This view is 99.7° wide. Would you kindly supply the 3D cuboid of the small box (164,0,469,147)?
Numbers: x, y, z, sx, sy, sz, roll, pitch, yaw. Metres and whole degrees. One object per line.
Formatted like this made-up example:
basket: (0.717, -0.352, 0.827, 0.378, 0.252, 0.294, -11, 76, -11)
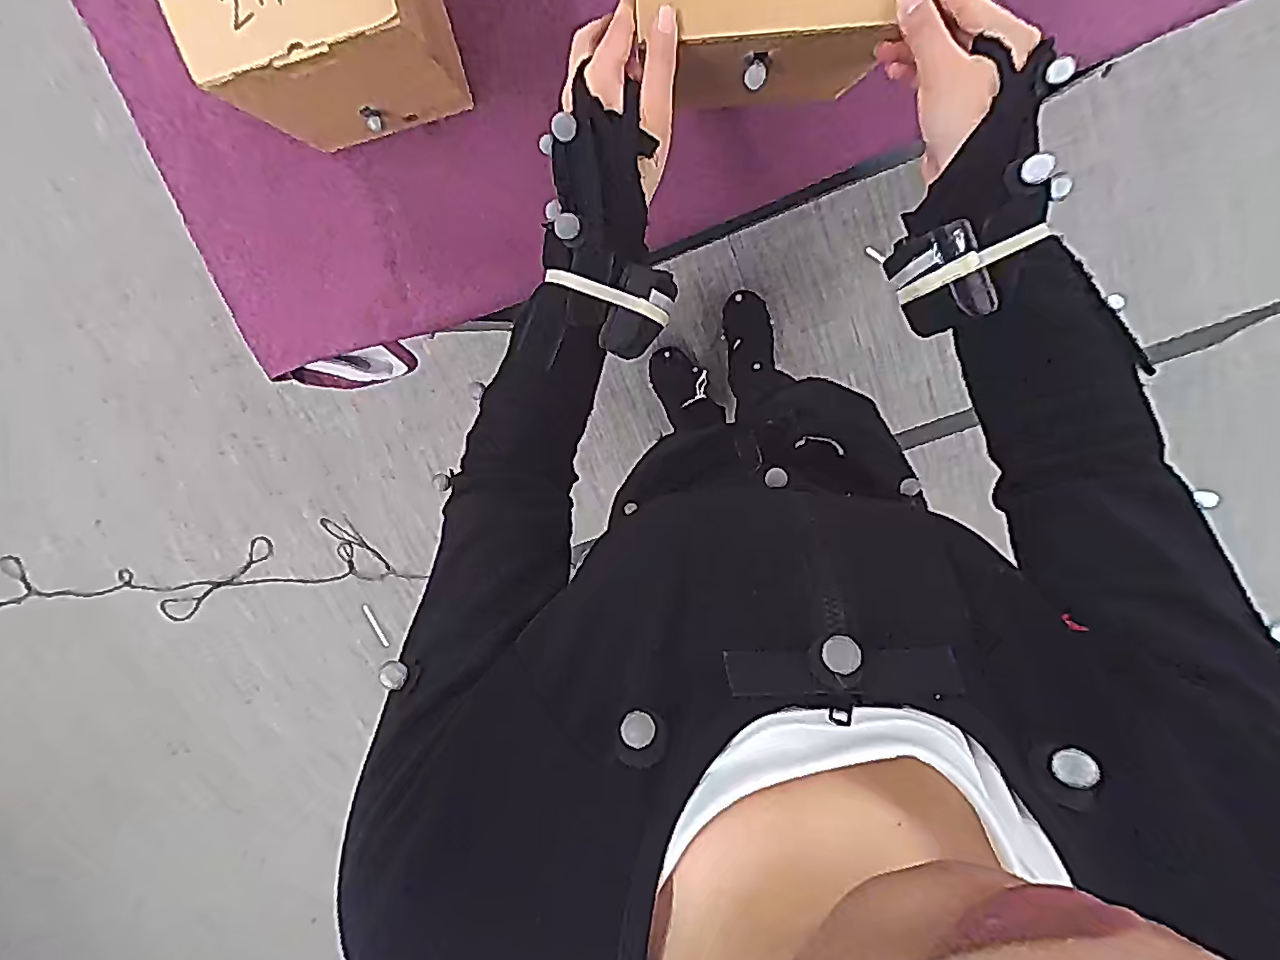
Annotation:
small box: (-0.266, -0.415, 0.447, 0.168, 0.176, 0.179, -14, 105, 5)
